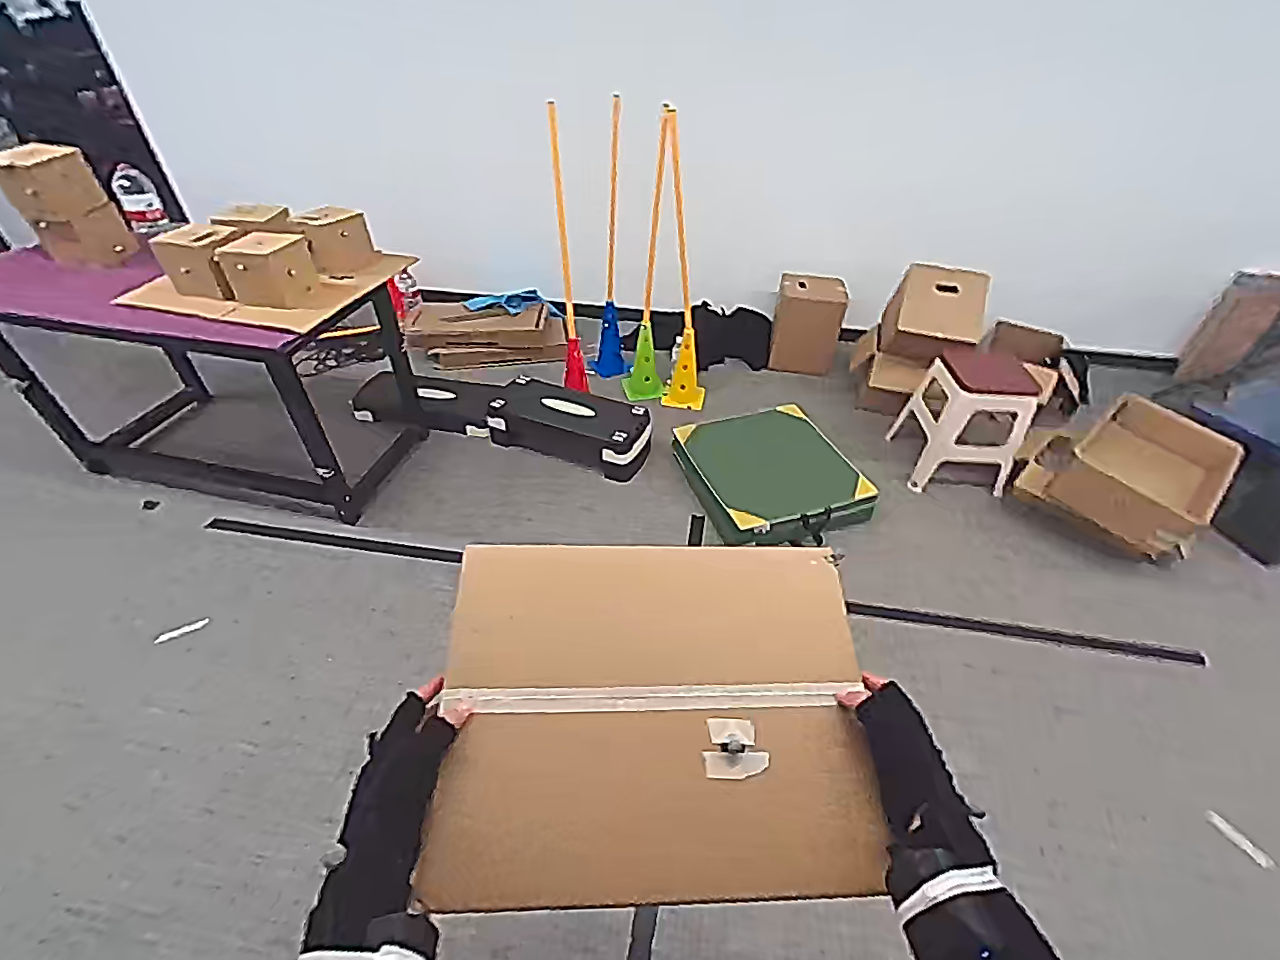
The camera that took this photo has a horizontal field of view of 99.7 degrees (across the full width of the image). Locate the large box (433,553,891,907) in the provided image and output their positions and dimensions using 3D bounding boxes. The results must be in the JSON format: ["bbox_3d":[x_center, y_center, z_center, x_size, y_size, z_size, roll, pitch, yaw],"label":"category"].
[{"bbox_3d":[0.008,0.292,0.660,0.408,0.320,0.320,1,60,-4],"label":"large box"}]
